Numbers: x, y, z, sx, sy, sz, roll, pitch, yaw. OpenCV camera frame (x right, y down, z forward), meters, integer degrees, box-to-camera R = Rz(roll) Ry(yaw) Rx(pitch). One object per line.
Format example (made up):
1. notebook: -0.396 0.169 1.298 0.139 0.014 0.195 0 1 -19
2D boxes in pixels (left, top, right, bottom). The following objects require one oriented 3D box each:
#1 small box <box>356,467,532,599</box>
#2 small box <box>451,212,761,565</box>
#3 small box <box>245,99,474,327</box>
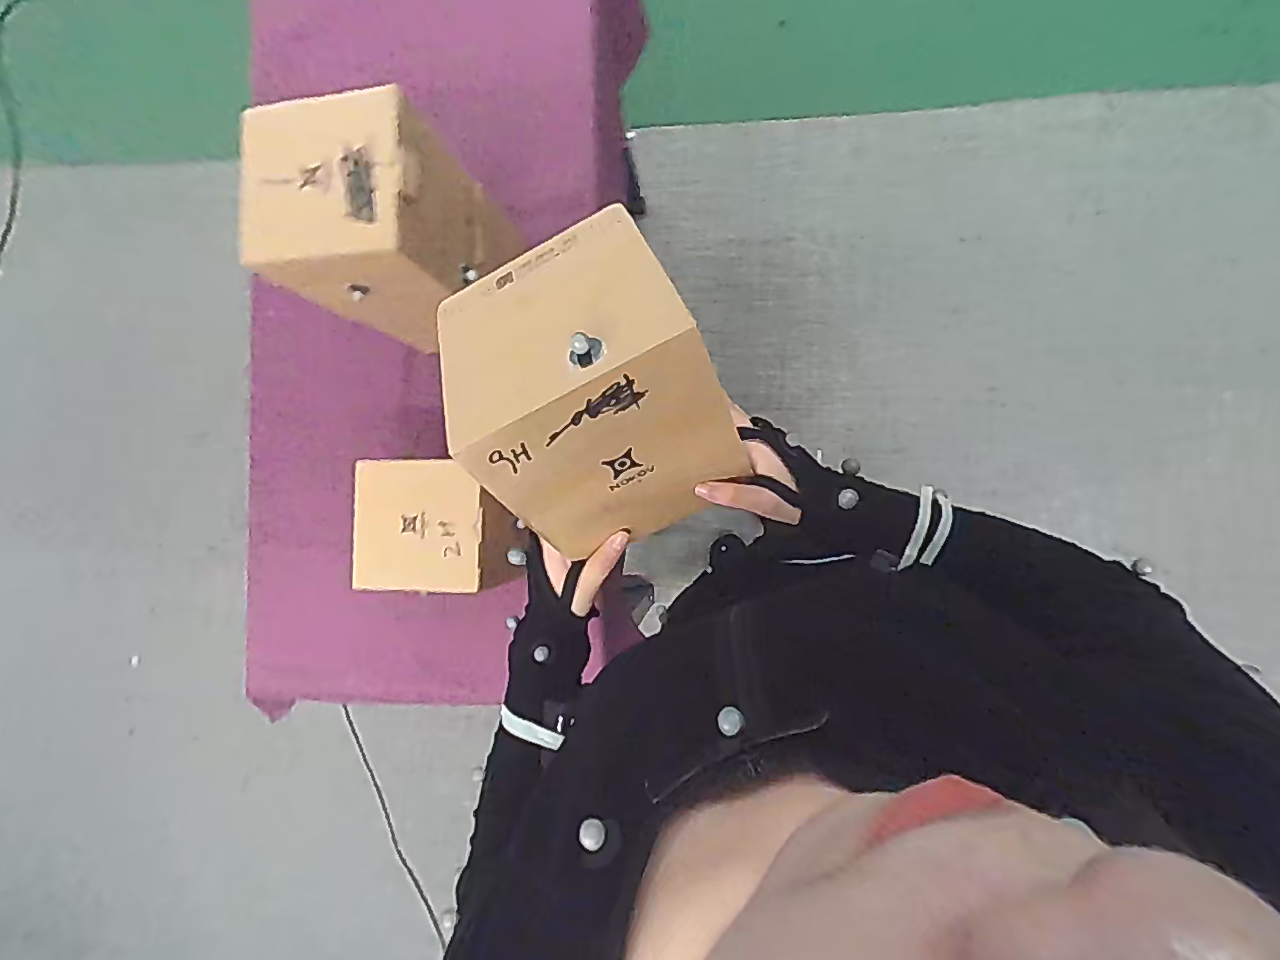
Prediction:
1. small box: -0.263 0.070 0.757 0.179 0.176 0.168 -1 87 9
2. small box: -0.026 -0.066 0.424 0.168 0.179 0.176 -26 51 7
3. small box: -0.304 -0.285 0.617 0.179 0.176 0.168 -2 86 11
